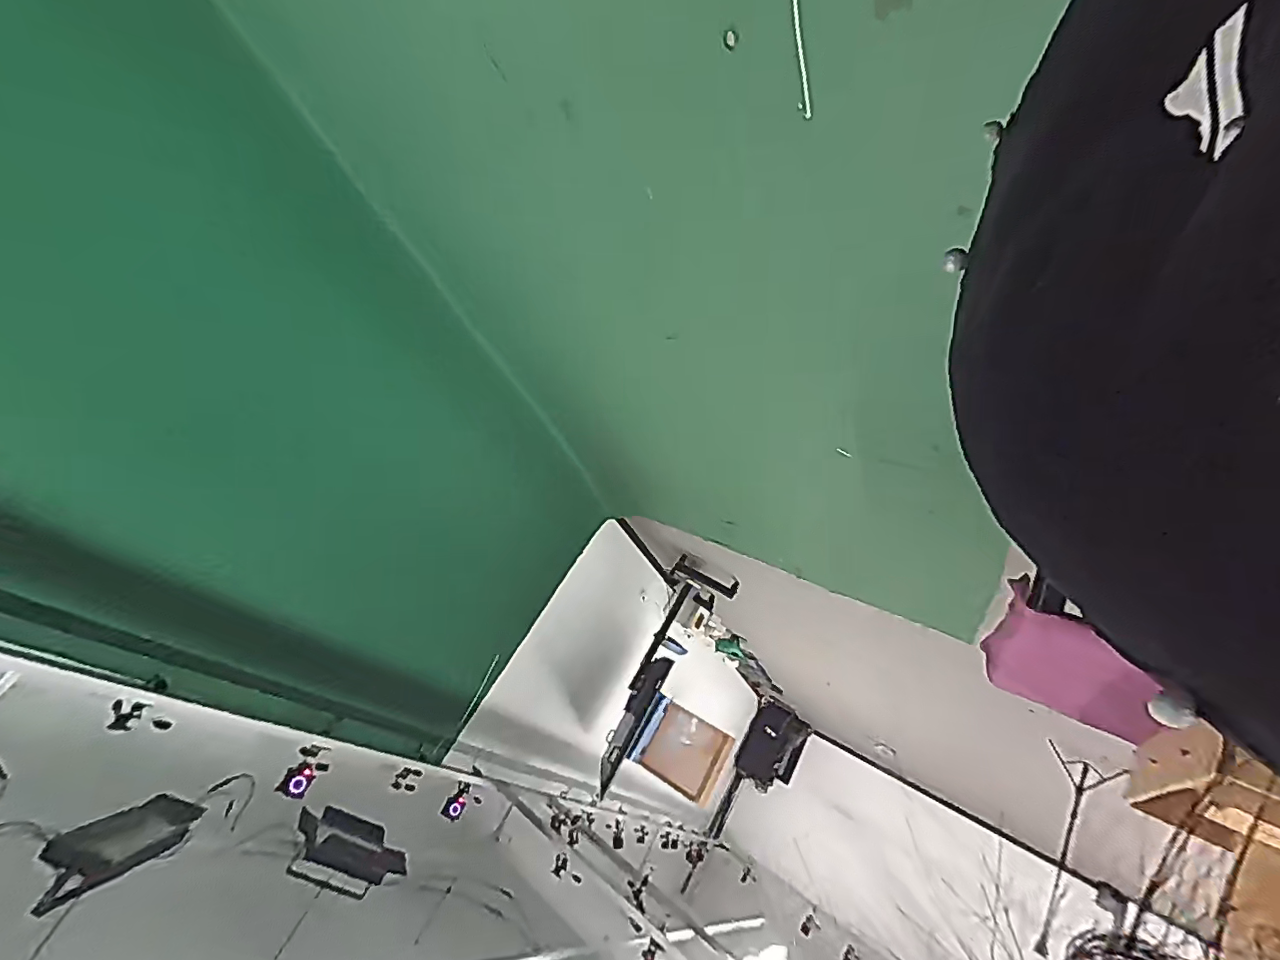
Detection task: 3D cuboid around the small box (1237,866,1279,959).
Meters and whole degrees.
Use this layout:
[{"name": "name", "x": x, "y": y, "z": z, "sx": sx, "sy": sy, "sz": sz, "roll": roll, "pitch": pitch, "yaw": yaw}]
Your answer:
[{"name": "small box", "x": 1.477, "y": 0.985, "z": 1.189, "sx": 0.168, "sy": 0.176, "sz": 0.179, "roll": 20, "pitch": 154, "yaw": 33}]
